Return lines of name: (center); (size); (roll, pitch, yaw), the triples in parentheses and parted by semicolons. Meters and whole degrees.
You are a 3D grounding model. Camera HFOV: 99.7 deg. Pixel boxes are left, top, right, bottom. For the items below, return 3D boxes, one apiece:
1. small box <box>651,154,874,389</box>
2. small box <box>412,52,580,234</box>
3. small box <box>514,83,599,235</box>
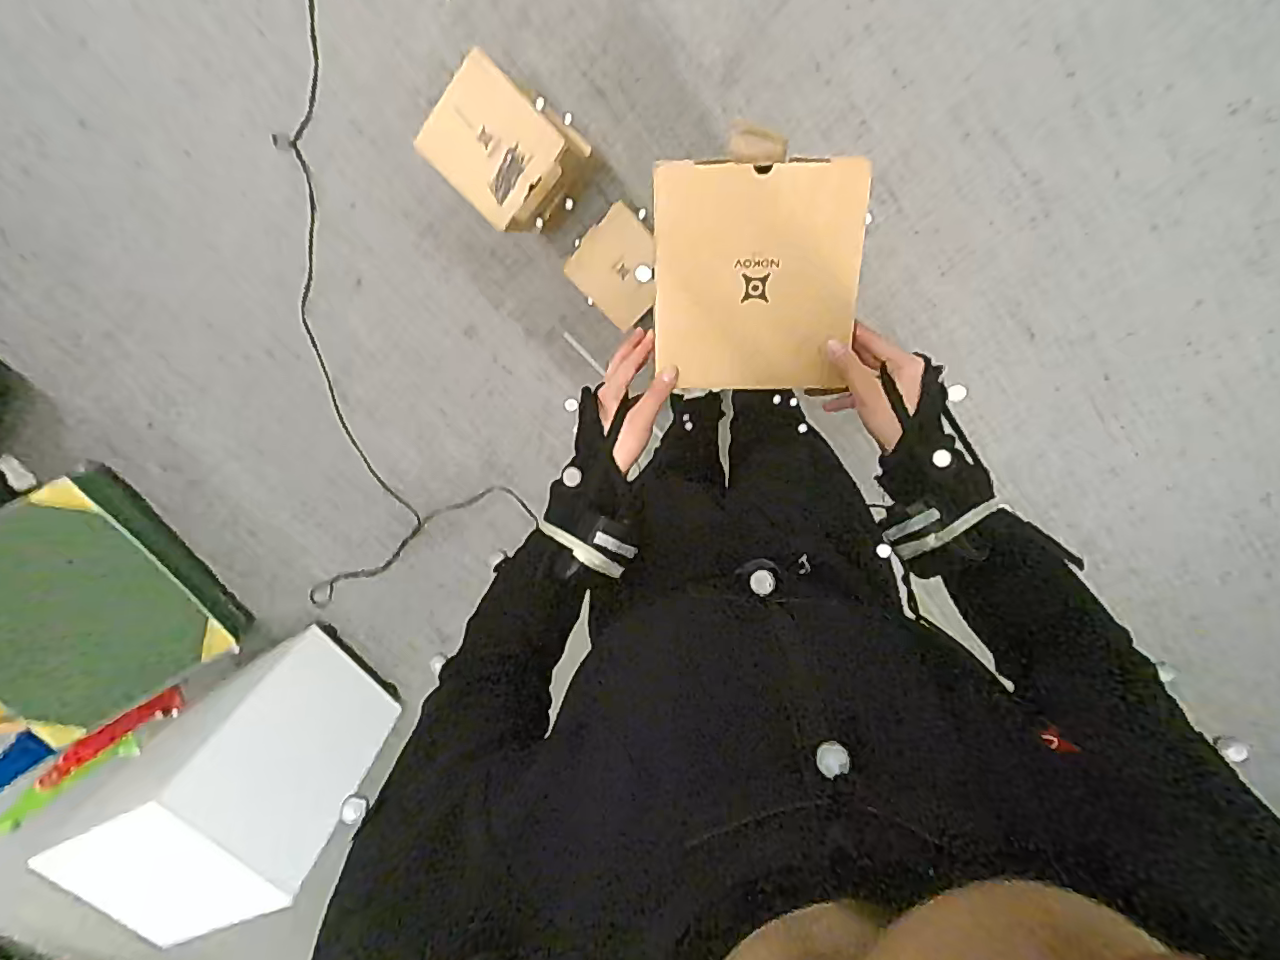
small box: (0.096, -0.186, 0.504); (0.168, 0.176, 0.179); (0, 109, 3)
small box: (-0.218, -0.525, 0.871); (0.179, 0.176, 0.168); (43, 111, -13)
small box: (-0.194, -0.591, 1.022); (0.168, 0.176, 0.179); (37, 112, -12)
